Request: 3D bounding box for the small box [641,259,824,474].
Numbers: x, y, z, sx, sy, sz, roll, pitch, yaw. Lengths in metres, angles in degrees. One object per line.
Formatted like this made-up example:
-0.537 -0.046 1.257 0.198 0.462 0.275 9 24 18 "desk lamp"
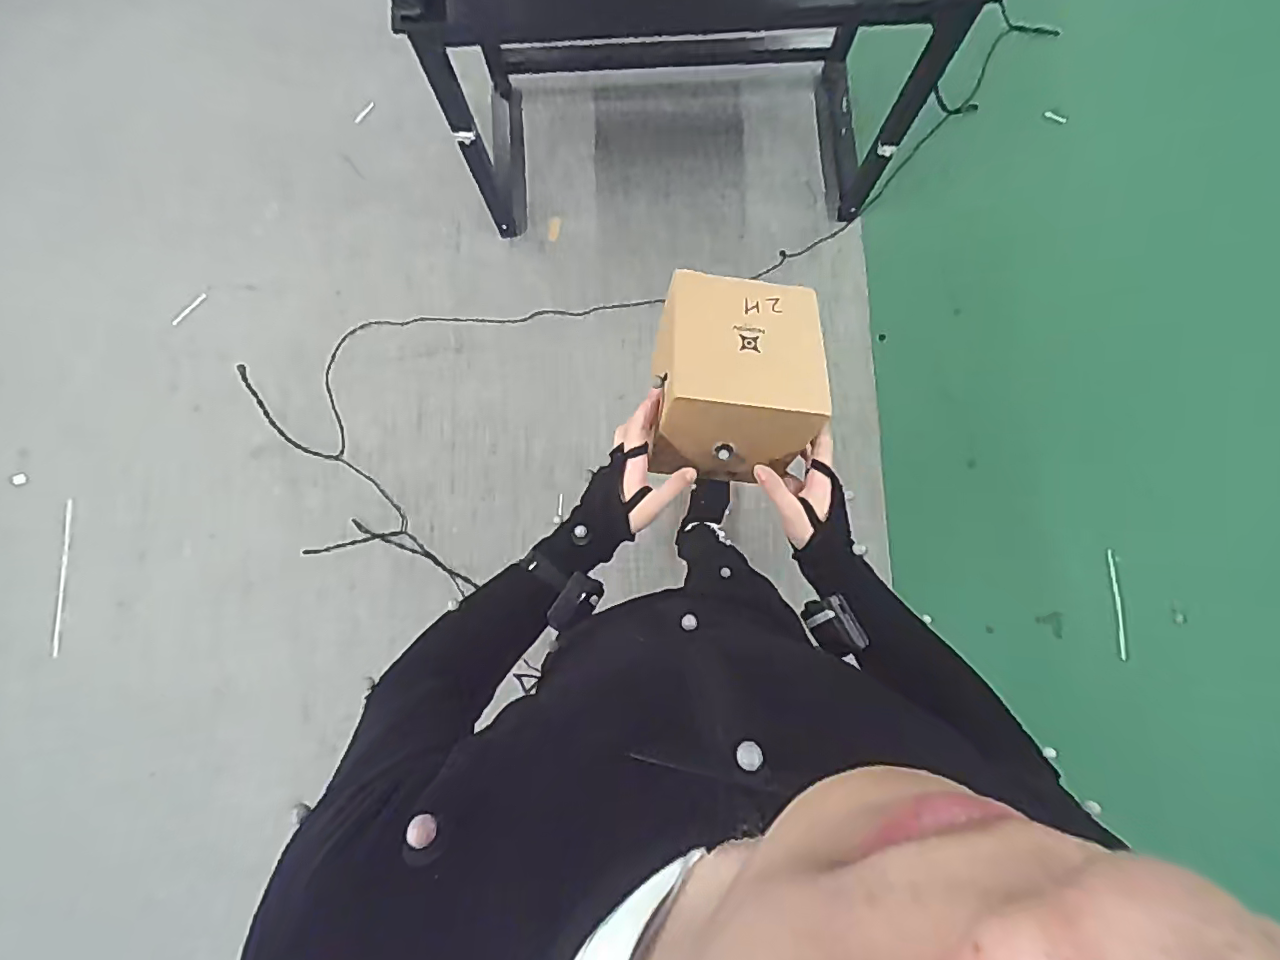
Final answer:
0.095 -0.122 0.632 0.168 0.176 0.179 6 63 -7 "small box"
